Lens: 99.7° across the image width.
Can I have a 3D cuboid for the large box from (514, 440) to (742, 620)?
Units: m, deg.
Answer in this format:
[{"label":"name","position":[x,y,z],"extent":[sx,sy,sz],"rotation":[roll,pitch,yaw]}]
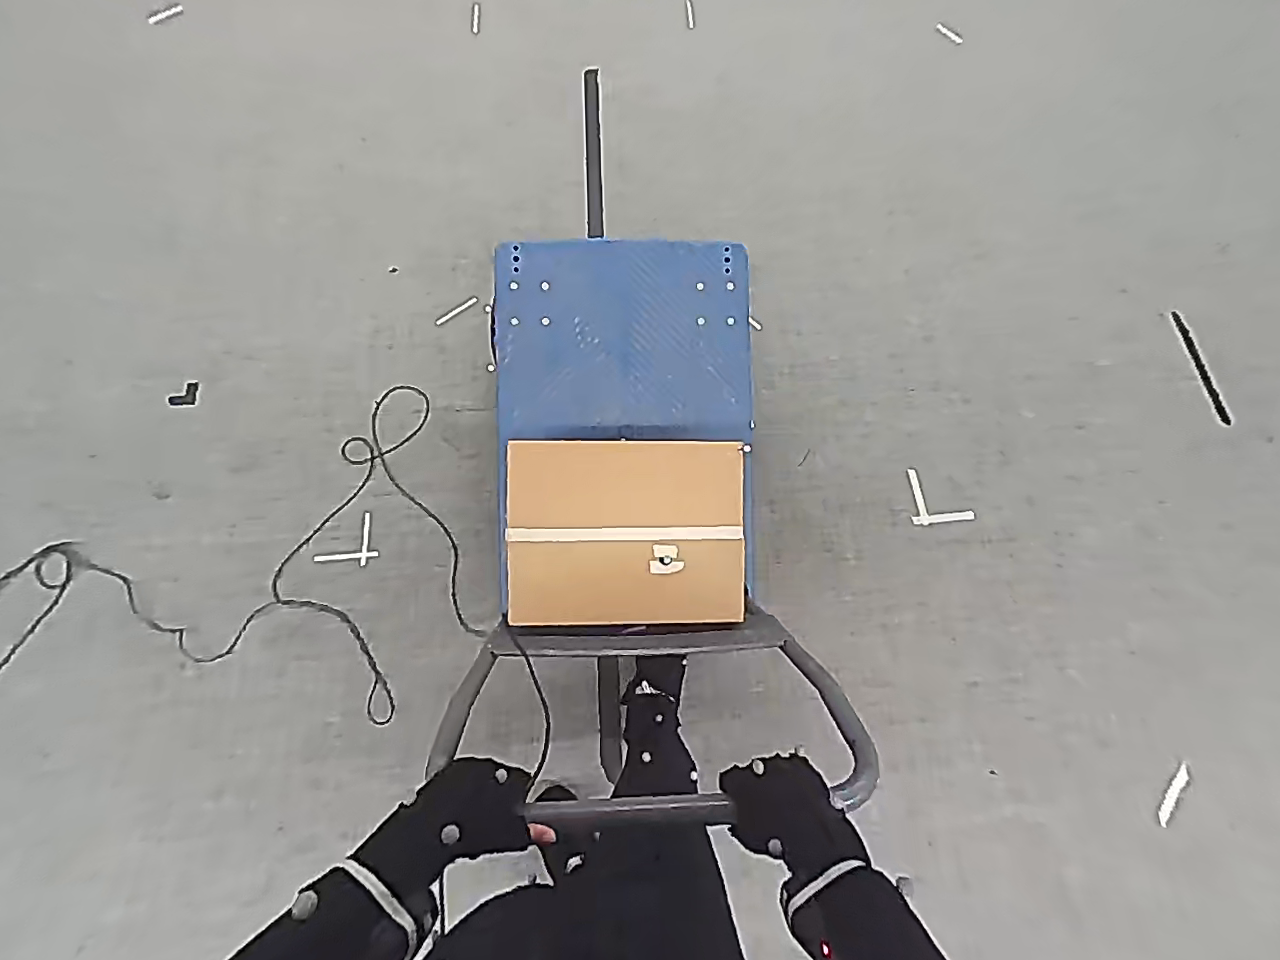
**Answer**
[{"label":"large box","position":[-0.032,0.087,1.095],"extent":[0.408,0.320,0.320],"rotation":[0,90,-4]}]
